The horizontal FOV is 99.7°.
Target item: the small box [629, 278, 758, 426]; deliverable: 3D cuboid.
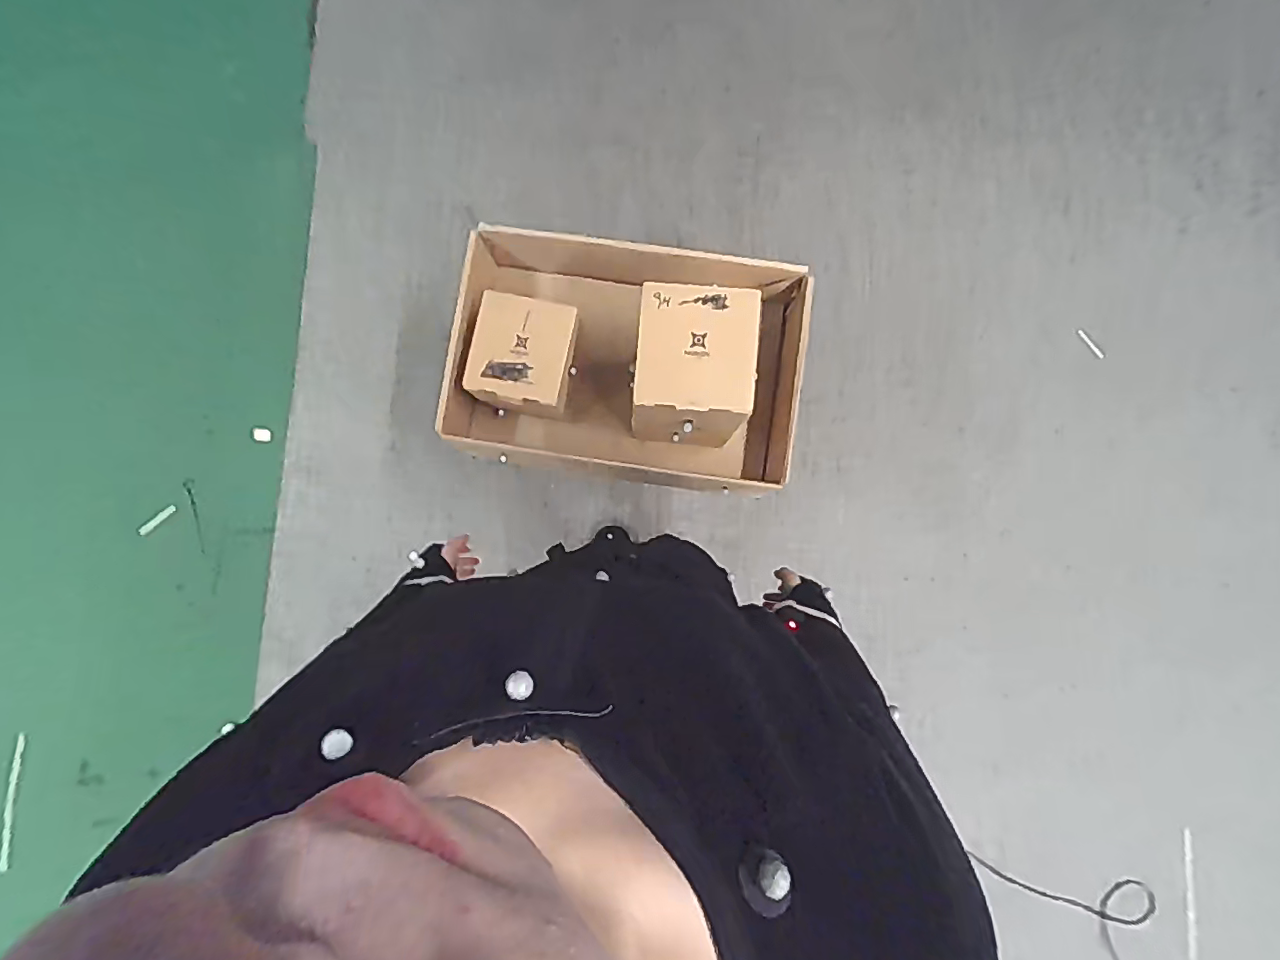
[{"bbox_3d":[0.076,-0.182,0.821,0.168,0.176,0.179,6,87,1],"label":"small box"}]
